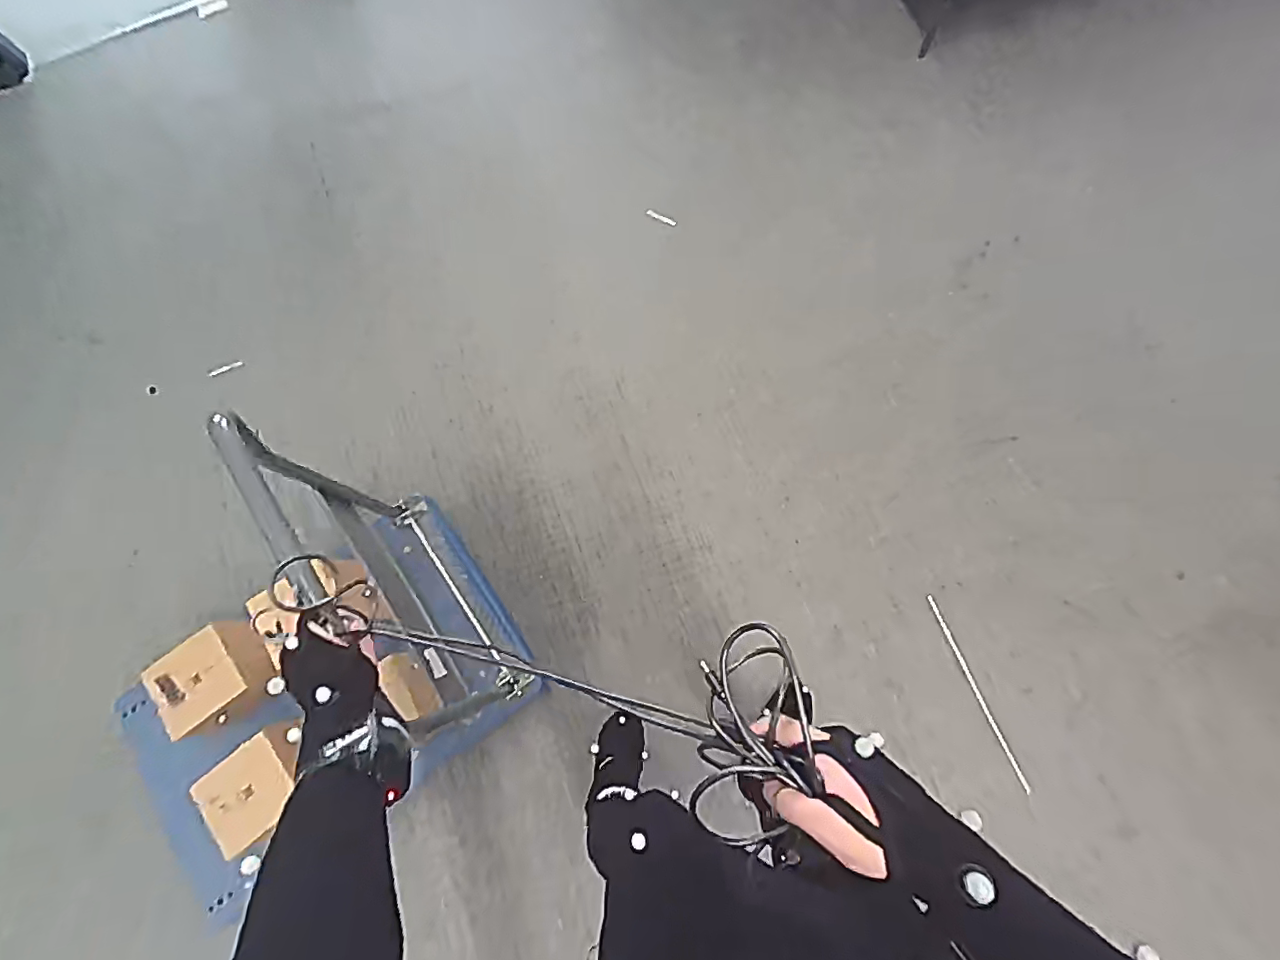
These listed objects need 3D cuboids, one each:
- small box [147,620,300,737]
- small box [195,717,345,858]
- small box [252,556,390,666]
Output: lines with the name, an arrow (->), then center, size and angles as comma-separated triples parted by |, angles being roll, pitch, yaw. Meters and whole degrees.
small box -> -0.909, 0.428, 1.194 | 0.179, 0.176, 0.168 | -36, 78, -6
small box -> -0.761, 0.631, 1.139 | 0.179, 0.176, 0.168 | -38, 77, -6
small box -> -0.706, 0.292, 1.213 | 0.179, 0.176, 0.168 | -34, 78, -4
